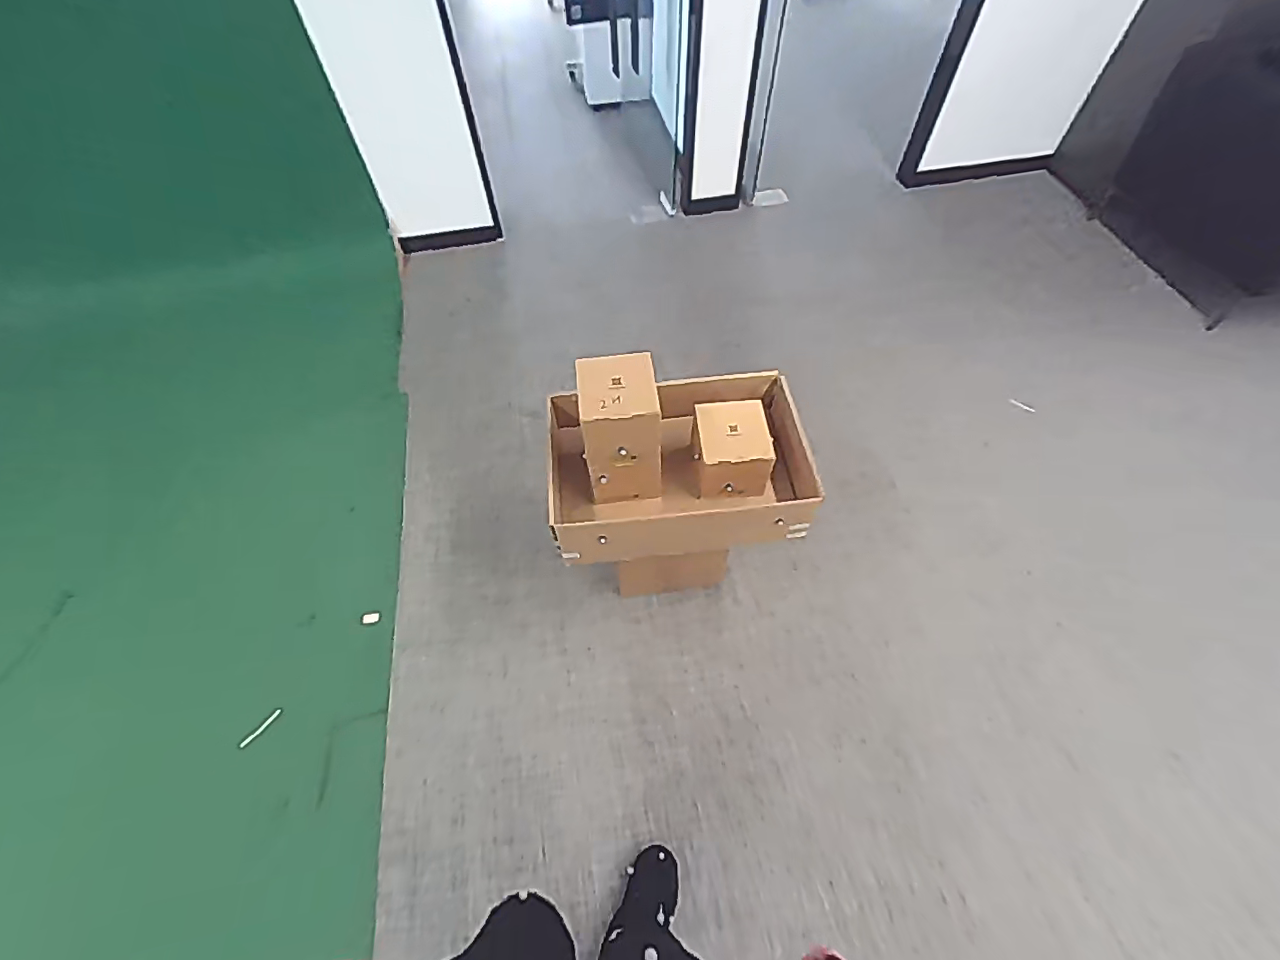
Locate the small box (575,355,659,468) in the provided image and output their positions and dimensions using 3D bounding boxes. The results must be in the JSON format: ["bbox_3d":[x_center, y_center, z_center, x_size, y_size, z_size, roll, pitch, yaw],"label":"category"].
[{"bbox_3d":[-0.050,-0.148,1.187,0.168,0.176,0.179,-6,57,-2],"label":"small box"}]

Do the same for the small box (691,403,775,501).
[{"bbox_3d":[0.219,-0.066,1.326,0.168,0.176,0.179,-5,58,-2],"label":"small box"}]
